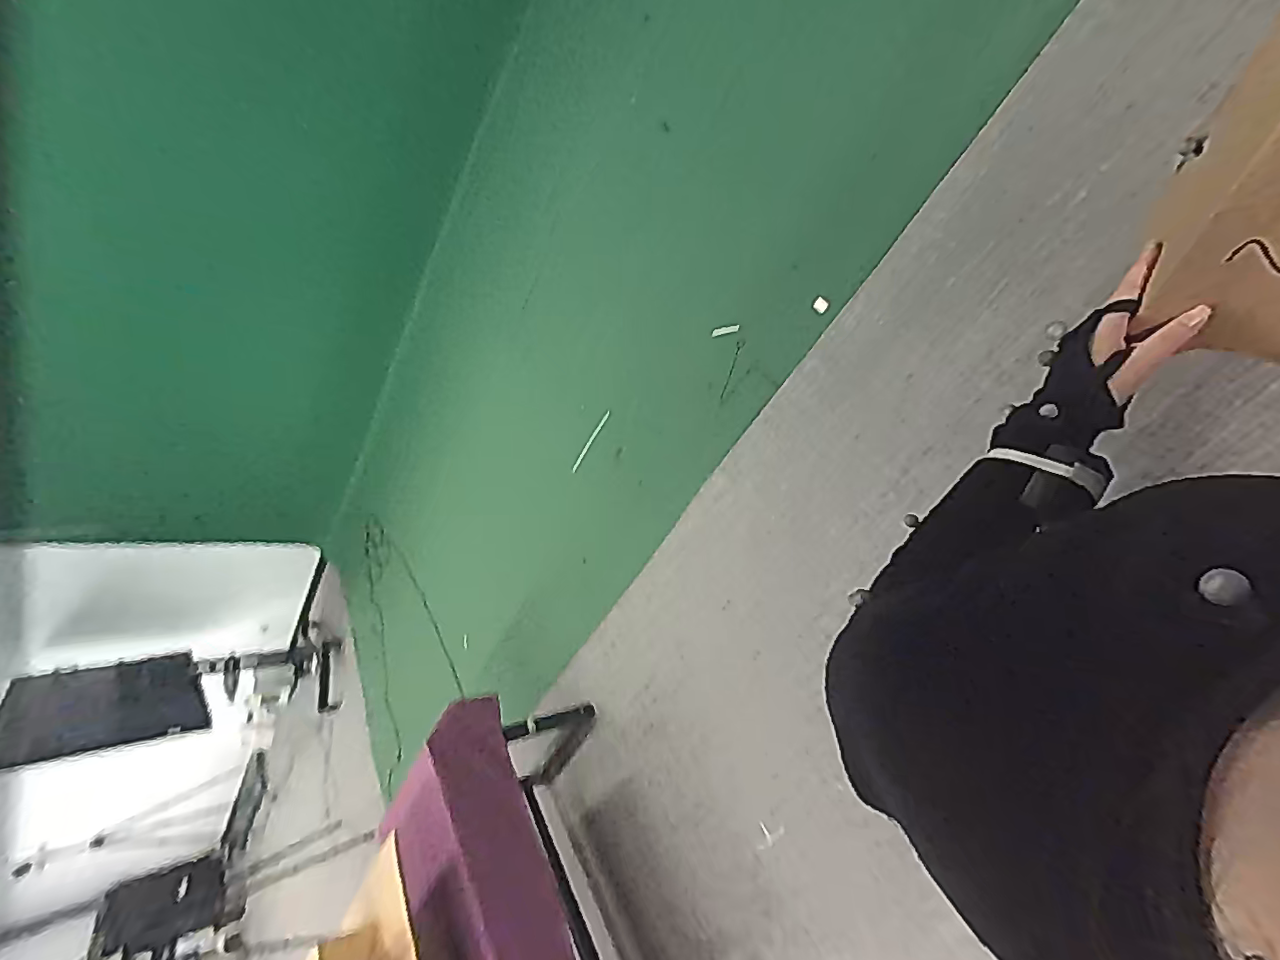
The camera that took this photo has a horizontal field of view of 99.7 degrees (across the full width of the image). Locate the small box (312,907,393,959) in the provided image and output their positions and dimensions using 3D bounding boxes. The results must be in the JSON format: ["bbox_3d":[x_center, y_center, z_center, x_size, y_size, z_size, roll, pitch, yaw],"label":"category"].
[{"bbox_3d":[-0.841,1.404,1.581,0.179,0.176,0.168,-56,47,25],"label":"small box"}]
